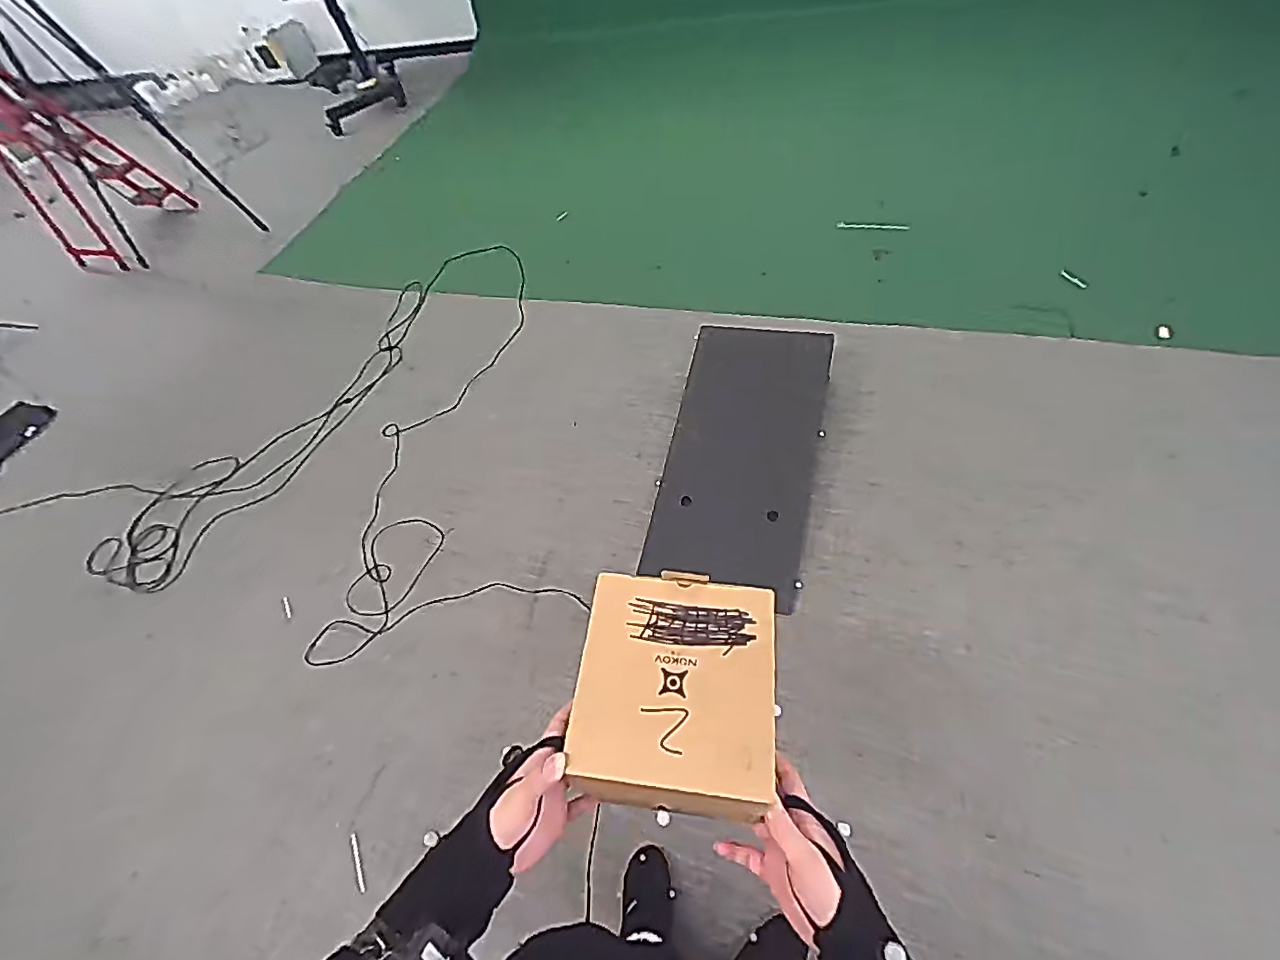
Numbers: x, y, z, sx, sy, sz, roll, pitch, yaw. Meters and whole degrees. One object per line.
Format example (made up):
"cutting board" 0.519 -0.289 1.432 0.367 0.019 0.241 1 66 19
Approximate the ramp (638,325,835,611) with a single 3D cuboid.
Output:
"ramp" 0.344 -0.098 1.818 0.509 0.206 0.991 8 59 15
